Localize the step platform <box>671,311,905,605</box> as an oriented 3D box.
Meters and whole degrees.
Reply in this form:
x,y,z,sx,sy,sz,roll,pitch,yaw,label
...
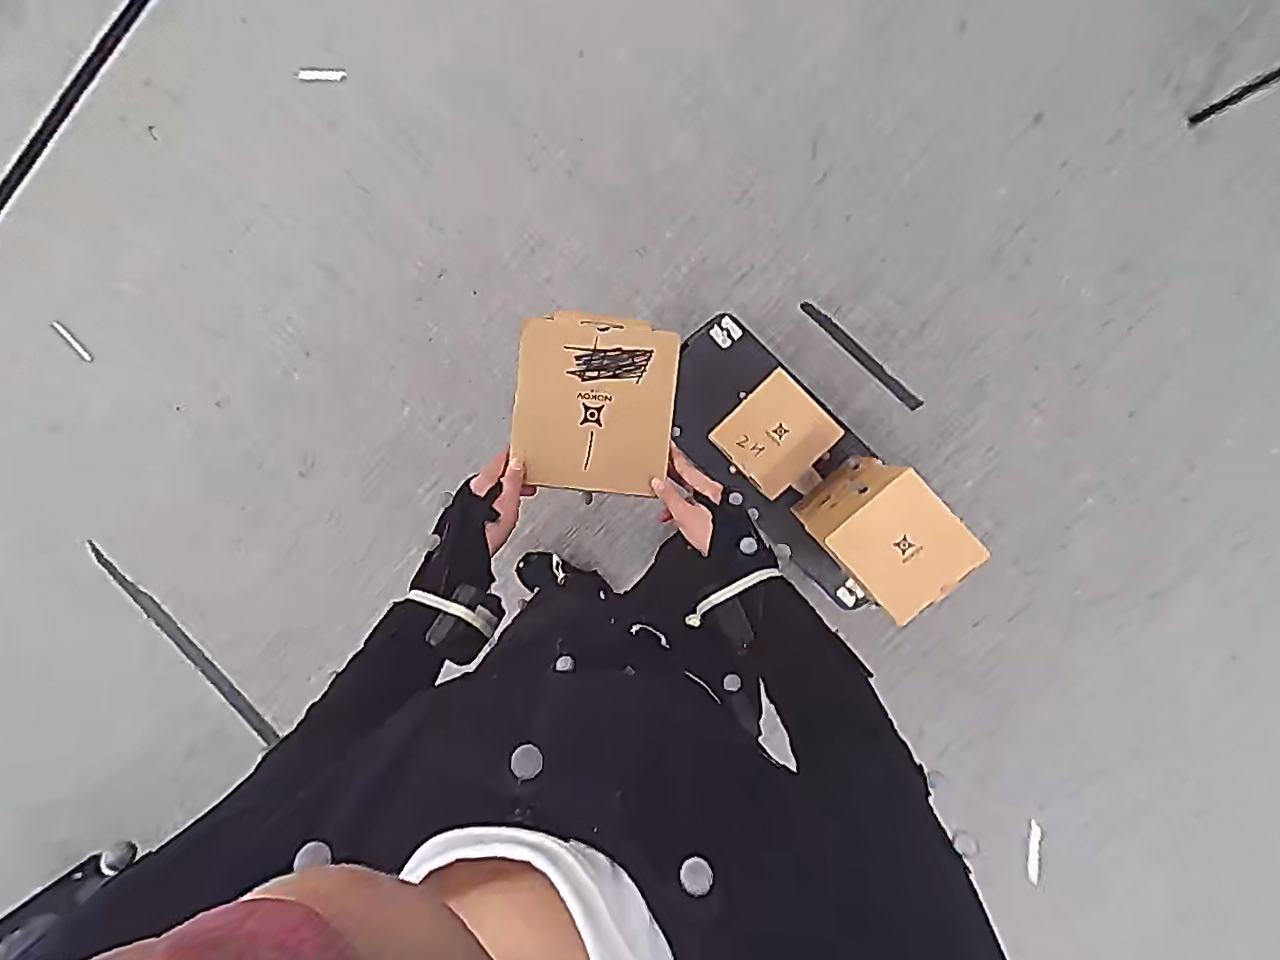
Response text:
x,y,z,sx,sy,sz,roll,pitch,yaw,label
0.340,-0.049,1.205,0.684,0.204,0.286,45,97,3,step platform

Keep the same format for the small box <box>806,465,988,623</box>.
x,y,z,sx,sy,sz,roll,pitch,yaw,label
0.394,0.093,0.869,0.168,0.176,0.179,-42,89,7,small box

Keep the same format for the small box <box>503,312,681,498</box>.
x,y,z,sx,sy,sz,roll,pitch,yaw,label
-0.052,-0.074,0.629,0.168,0.176,0.179,6,89,-2,small box

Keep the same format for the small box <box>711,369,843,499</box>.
x,y,z,sx,sy,sz,roll,pitch,yaw,label
0.250,-0.086,1.039,0.179,0.176,0.168,-44,88,7,small box
